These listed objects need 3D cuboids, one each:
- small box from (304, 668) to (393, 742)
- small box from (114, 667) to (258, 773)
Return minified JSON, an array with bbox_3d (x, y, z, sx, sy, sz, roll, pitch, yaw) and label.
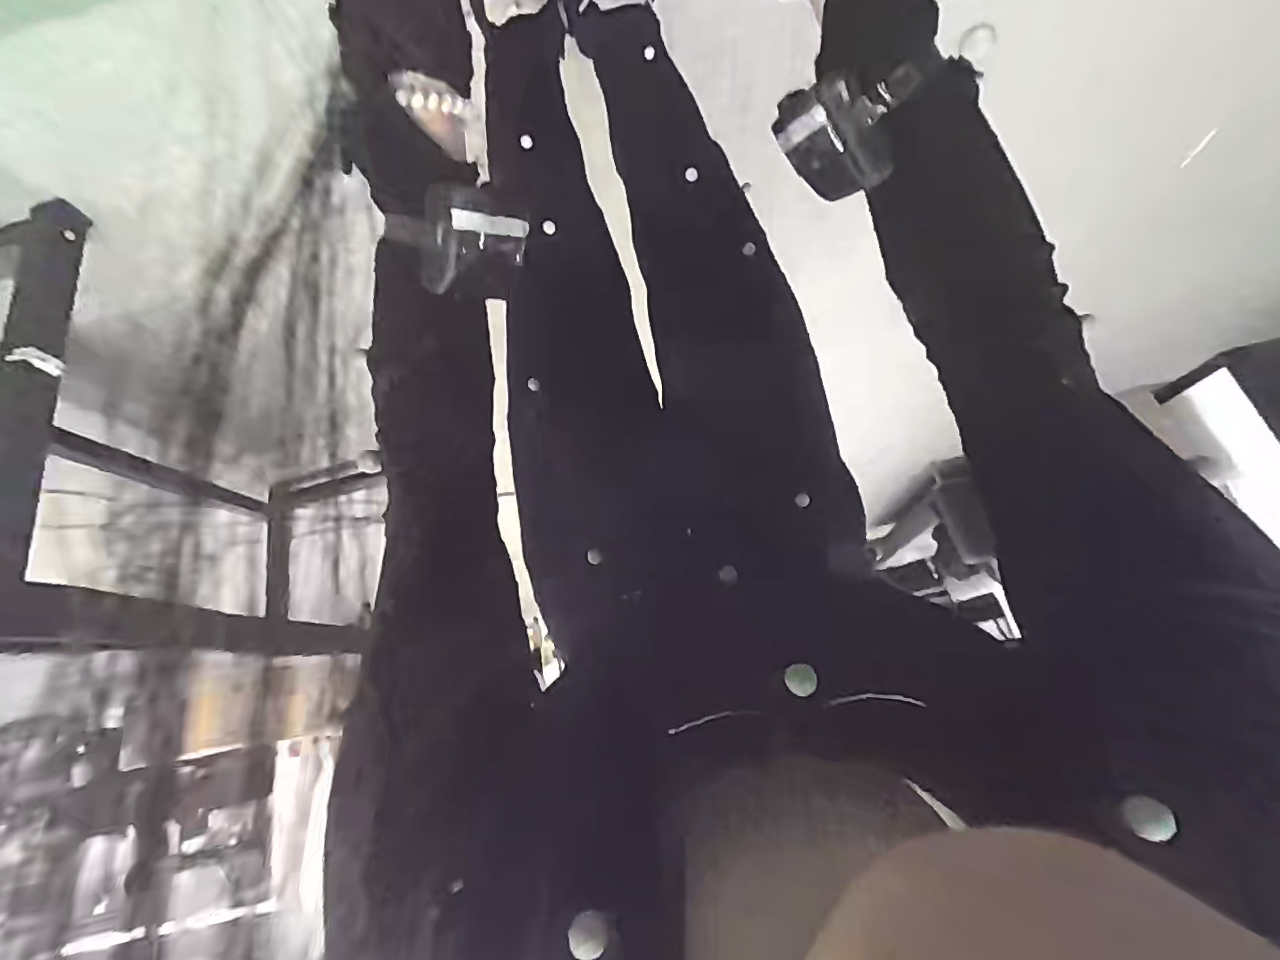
[{"bbox_3d":[-0.861,0.668,1.612,0.179,0.176,0.168,-14,158,5],"label":"small box"},{"bbox_3d":[-0.958,0.509,1.161,0.179,0.176,0.168,-15,159,4],"label":"small box"}]
